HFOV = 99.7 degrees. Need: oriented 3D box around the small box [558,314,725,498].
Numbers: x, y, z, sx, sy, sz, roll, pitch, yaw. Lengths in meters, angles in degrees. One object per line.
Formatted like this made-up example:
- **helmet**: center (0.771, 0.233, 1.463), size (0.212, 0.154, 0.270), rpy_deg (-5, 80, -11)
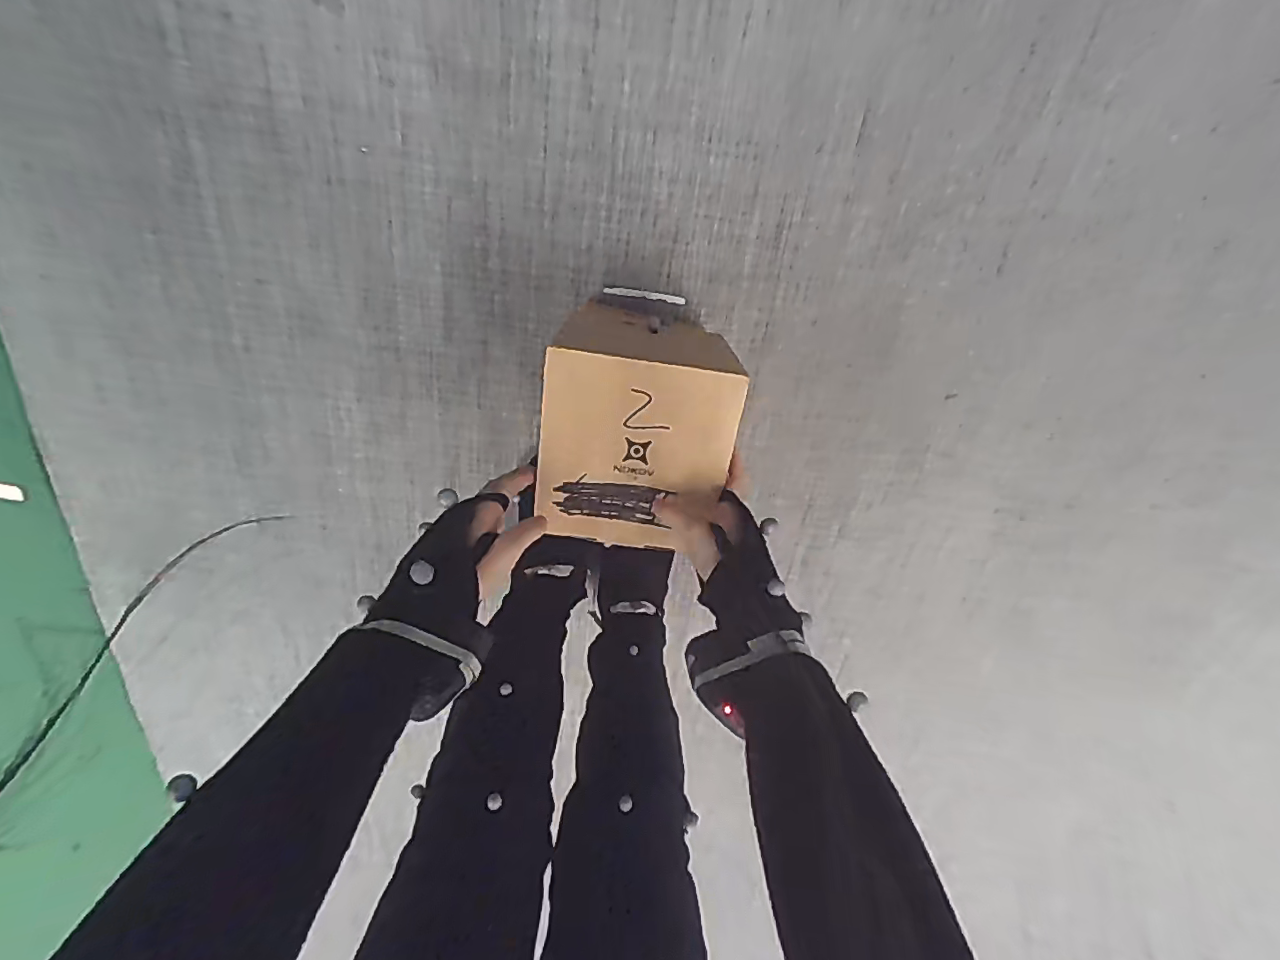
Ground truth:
- **small box**: center (-0.003, -0.105, 0.704), size (0.168, 0.176, 0.179), rpy_deg (12, 115, -6)
